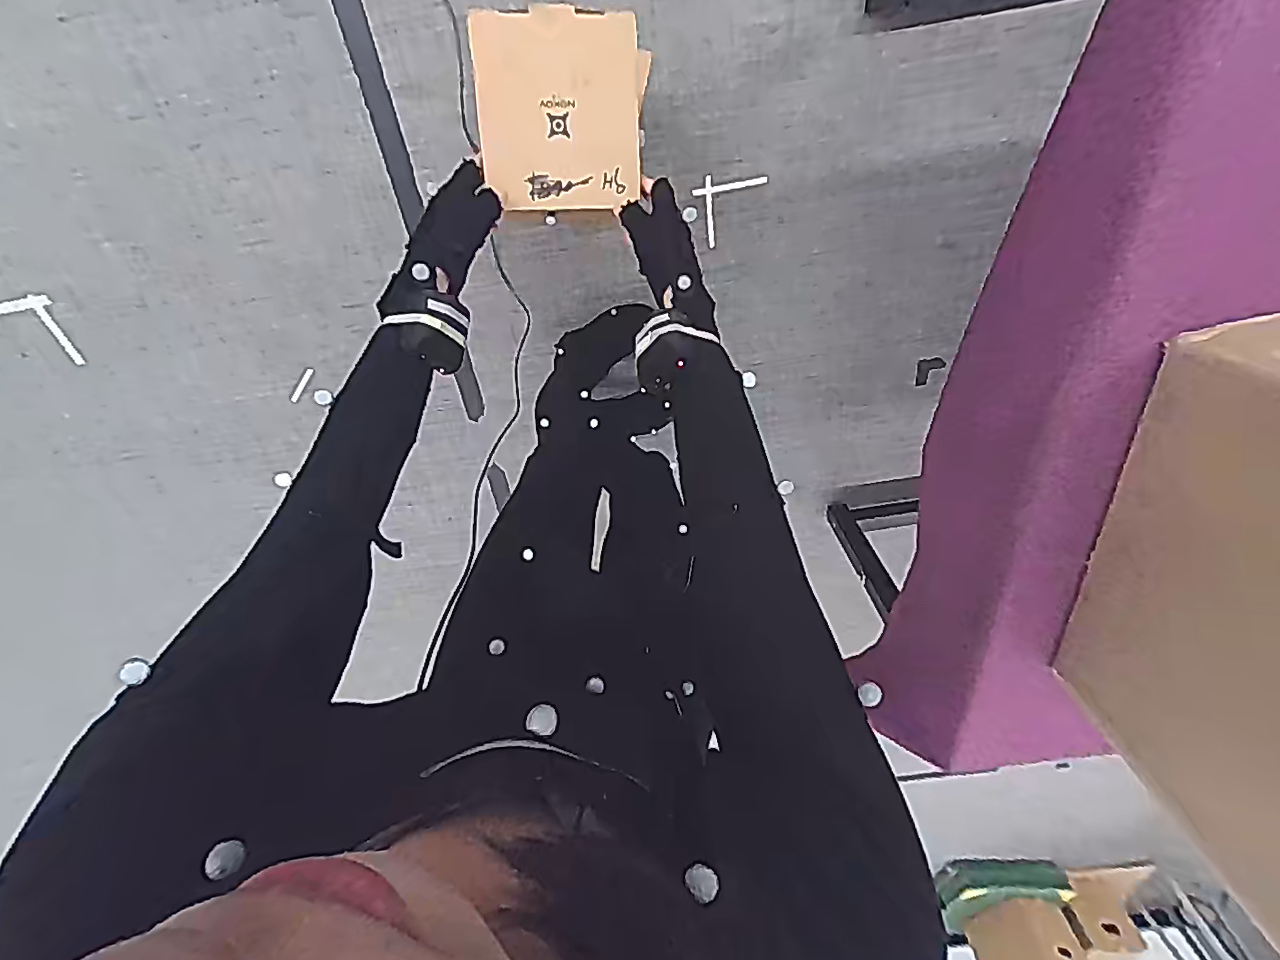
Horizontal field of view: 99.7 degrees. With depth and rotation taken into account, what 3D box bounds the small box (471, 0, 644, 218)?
[{"bbox_3d":[-0.084,-0.404,0.616,0.168,0.176,0.179,-3,112,-3],"label":"small box"}]
